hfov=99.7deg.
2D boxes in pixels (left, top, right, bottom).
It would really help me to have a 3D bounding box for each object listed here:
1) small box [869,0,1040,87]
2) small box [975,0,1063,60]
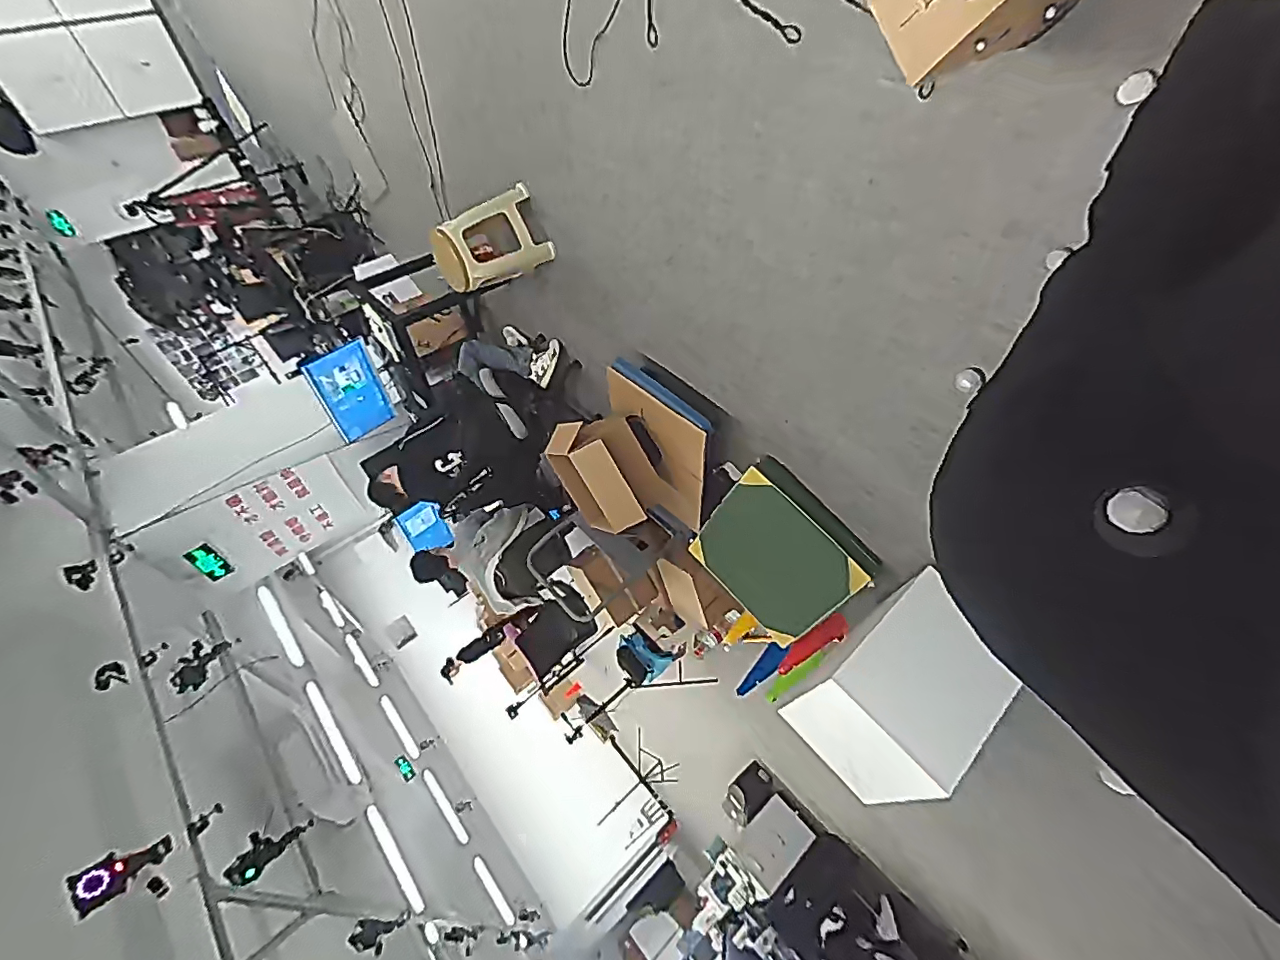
[{"bbox_3d":[0.498,-0.762,0.829,0.168,0.176,0.179,59,156,-6],"label":"small box"},{"bbox_3d":[0.624,-0.852,0.888,0.179,0.176,0.168,56,156,-2],"label":"small box"}]
